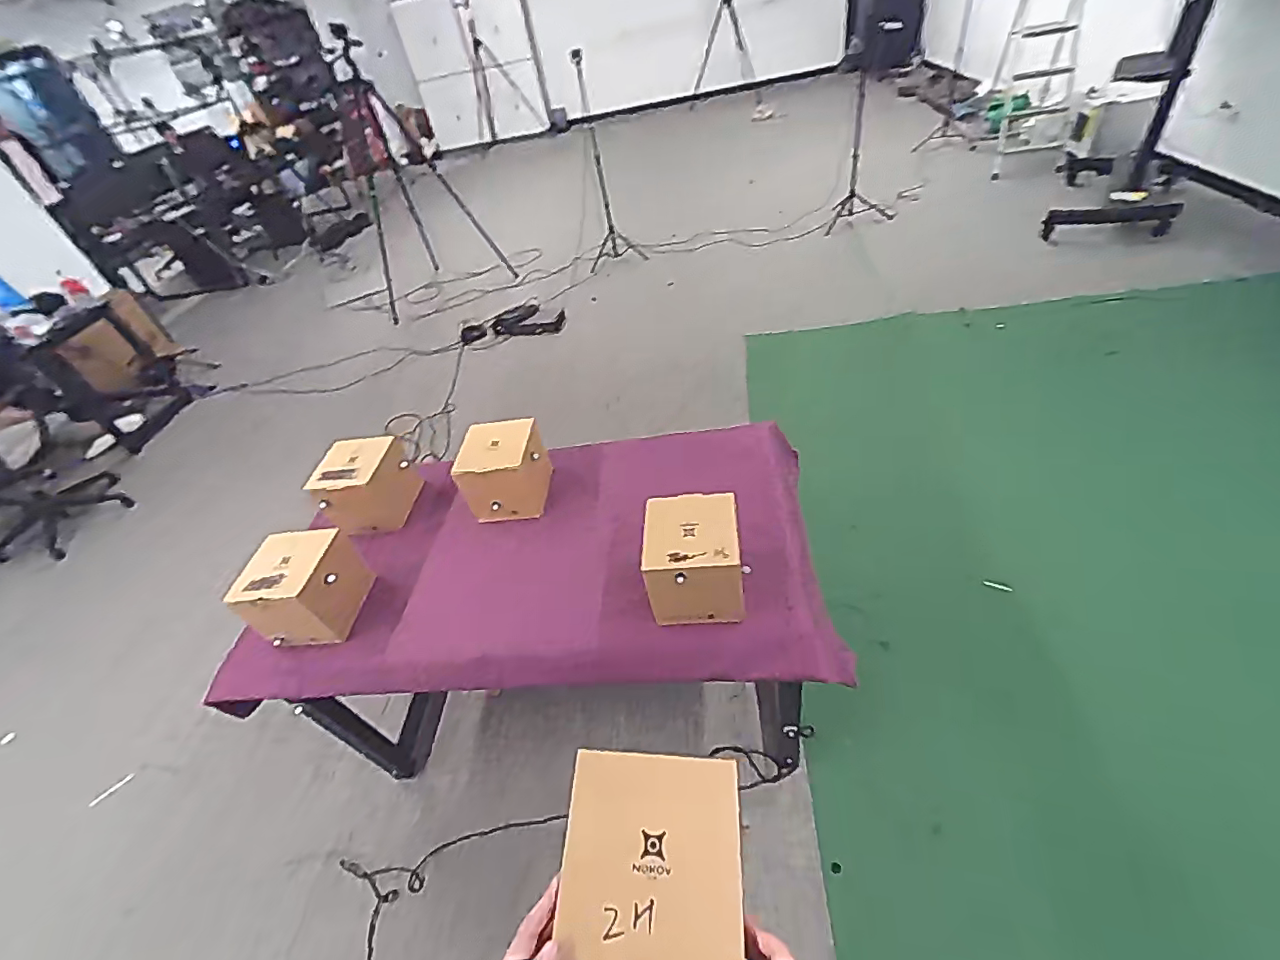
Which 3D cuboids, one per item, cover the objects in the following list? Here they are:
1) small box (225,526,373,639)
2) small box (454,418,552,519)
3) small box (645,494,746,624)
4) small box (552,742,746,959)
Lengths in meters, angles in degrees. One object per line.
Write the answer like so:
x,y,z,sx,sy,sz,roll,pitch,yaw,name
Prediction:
-0.696,0.220,1.133,0.168,0.176,0.179,-5,42,8,small box
-0.318,-0.026,1.305,0.168,0.176,0.179,-5,44,8,small box
0.108,0.148,1.010,0.168,0.176,0.179,-5,41,11,small box
0.015,0.393,0.561,0.168,0.176,0.179,2,50,4,small box
